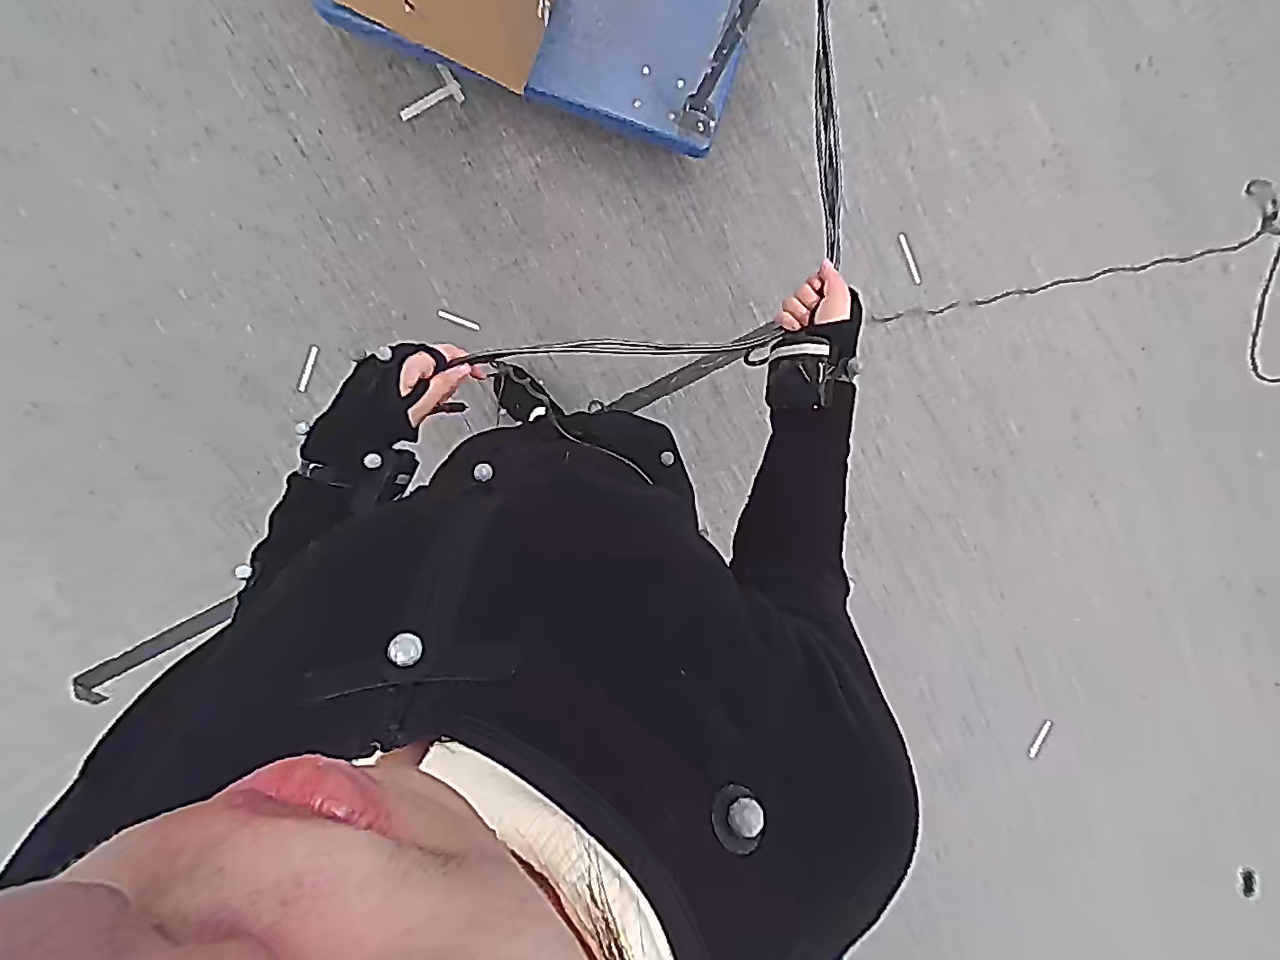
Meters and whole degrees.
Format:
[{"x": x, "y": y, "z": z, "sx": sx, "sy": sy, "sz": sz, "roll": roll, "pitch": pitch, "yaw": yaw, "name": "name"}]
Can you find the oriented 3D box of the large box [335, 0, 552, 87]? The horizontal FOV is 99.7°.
[{"x": -0.360, "y": -1.001, "z": 0.947, "sx": 0.408, "sy": 0.320, "sz": 0.320, "roll": 21, "pitch": 96, "yaw": -9, "name": "large box"}]
